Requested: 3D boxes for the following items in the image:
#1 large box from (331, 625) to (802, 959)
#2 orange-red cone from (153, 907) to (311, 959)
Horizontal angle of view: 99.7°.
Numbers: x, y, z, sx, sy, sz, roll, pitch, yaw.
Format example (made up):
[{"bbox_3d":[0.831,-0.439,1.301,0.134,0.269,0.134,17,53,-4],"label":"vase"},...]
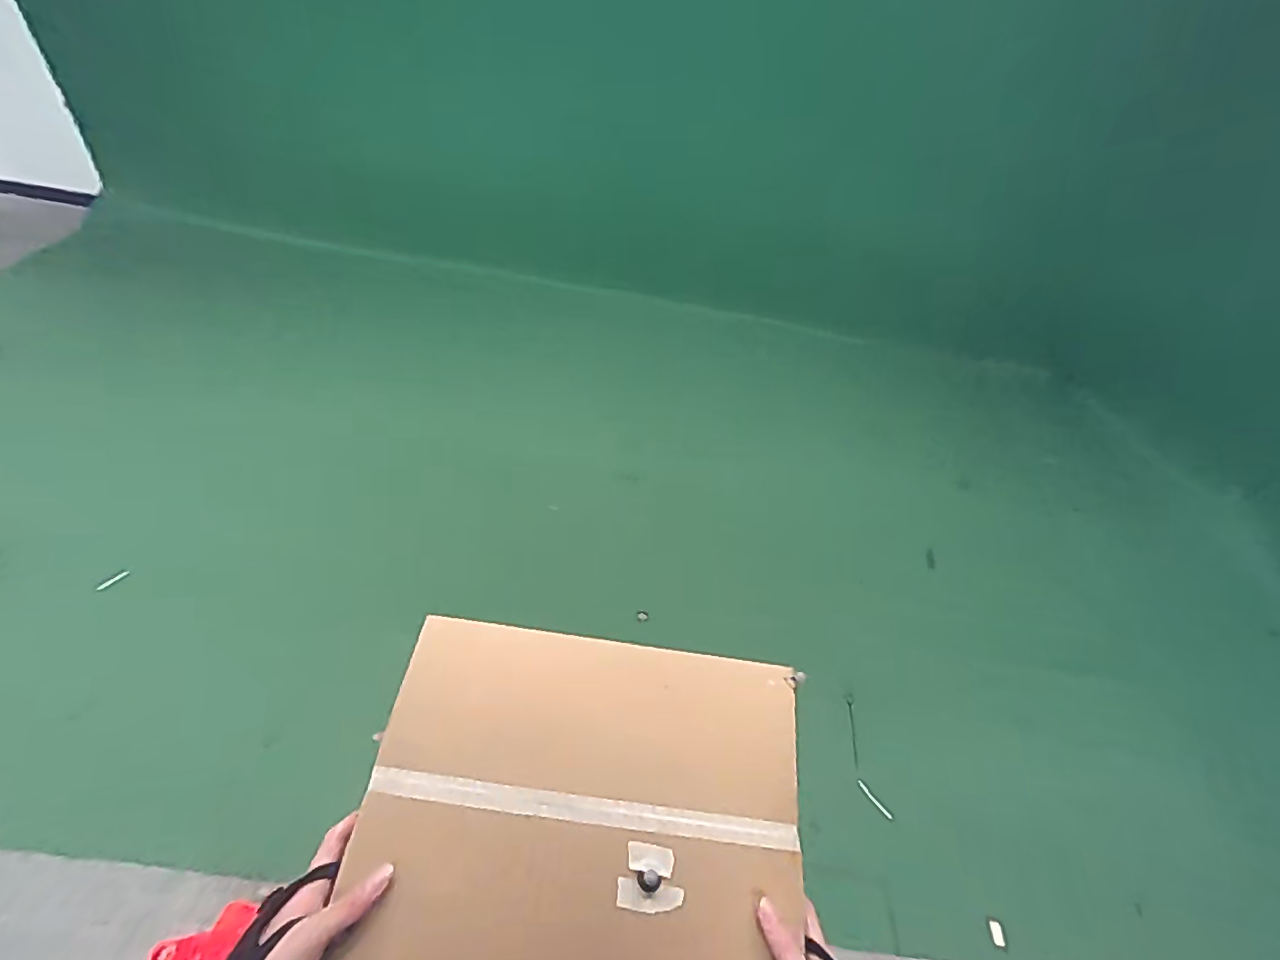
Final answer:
[{"bbox_3d":[-0.059,0.390,0.641,0.408,0.320,0.320,8,59,0],"label":"large box"},{"bbox_3d":[-0.811,0.916,1.014,0.199,0.360,0.198,13,44,4],"label":"orange-red cone"}]
